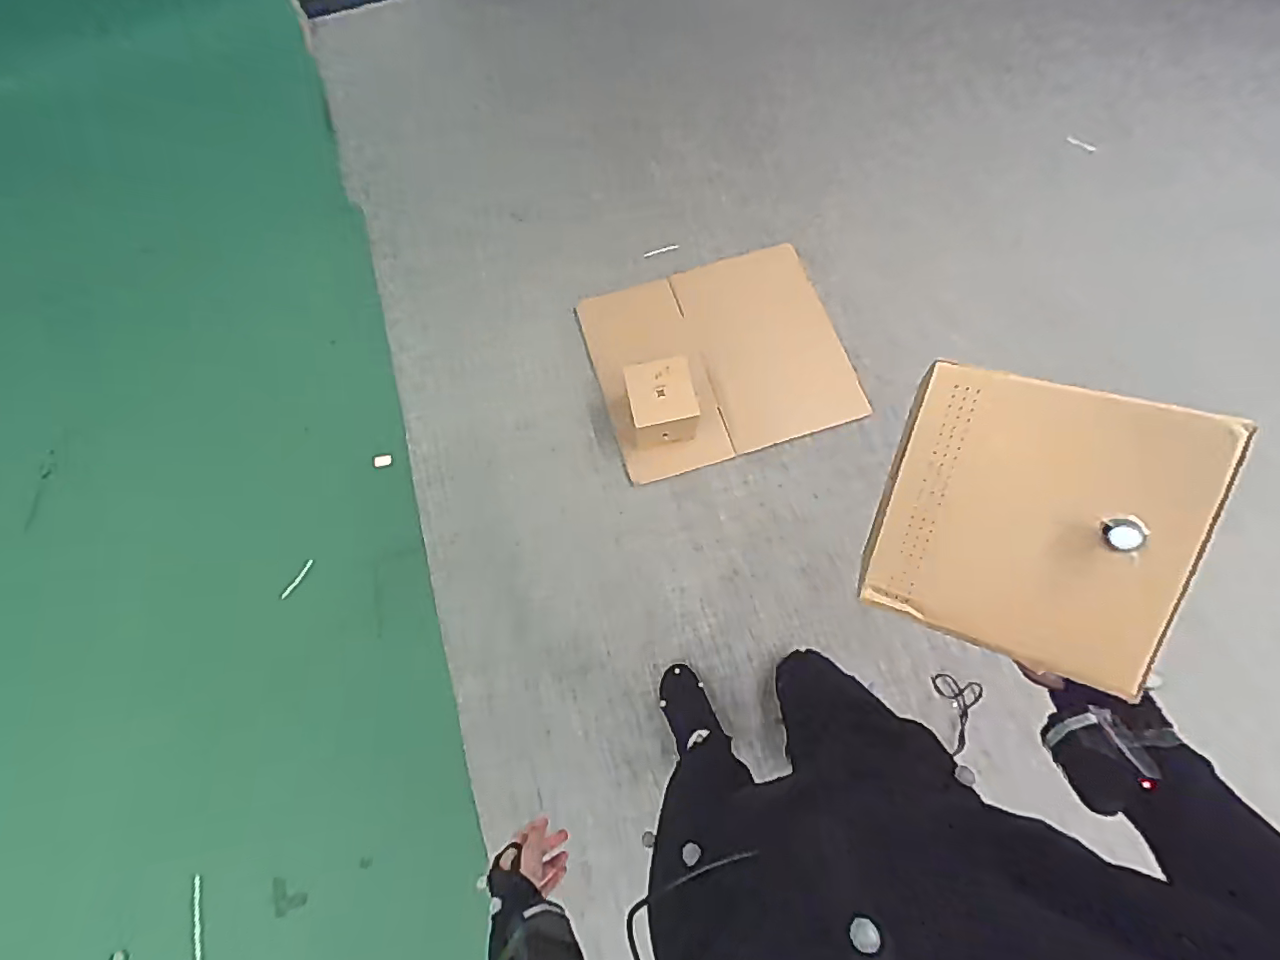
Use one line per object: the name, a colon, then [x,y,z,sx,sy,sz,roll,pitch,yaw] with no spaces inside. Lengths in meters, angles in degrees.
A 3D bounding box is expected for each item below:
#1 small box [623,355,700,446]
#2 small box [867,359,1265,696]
small box: [0.056,-0.199,1.425,0.168,0.176,0.179,-12,74,-2]
small box: [0.280,0.021,0.410,0.176,0.168,0.179,18,100,22]
